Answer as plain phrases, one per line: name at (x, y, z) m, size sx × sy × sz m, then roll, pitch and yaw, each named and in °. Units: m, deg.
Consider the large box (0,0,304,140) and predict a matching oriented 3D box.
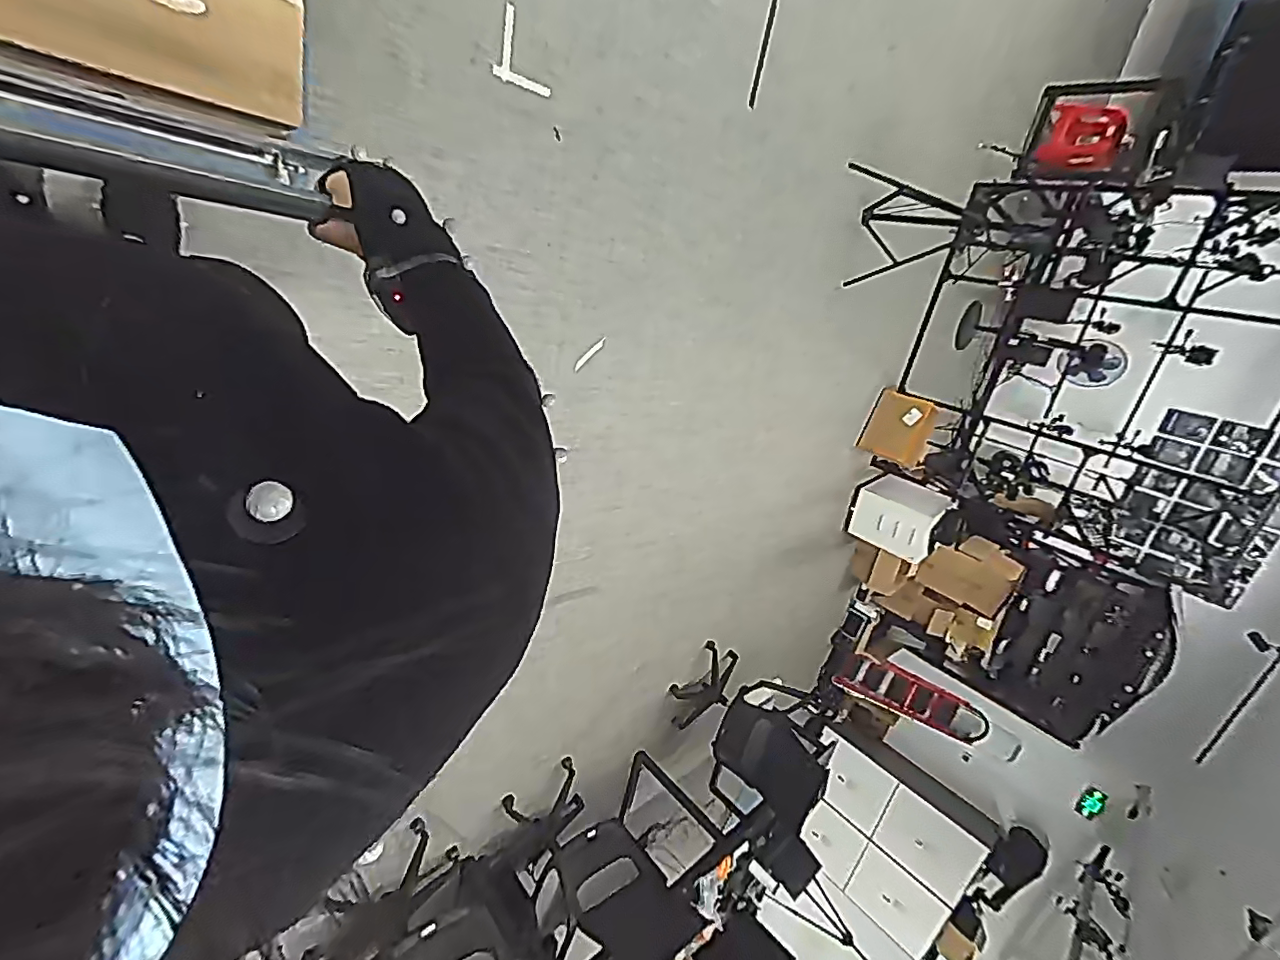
large box at (-0.699, -0.663, 0.677) m, size 0.408 × 0.320 × 0.320 m, roll -9°, pitch 119°, yaw -46°
